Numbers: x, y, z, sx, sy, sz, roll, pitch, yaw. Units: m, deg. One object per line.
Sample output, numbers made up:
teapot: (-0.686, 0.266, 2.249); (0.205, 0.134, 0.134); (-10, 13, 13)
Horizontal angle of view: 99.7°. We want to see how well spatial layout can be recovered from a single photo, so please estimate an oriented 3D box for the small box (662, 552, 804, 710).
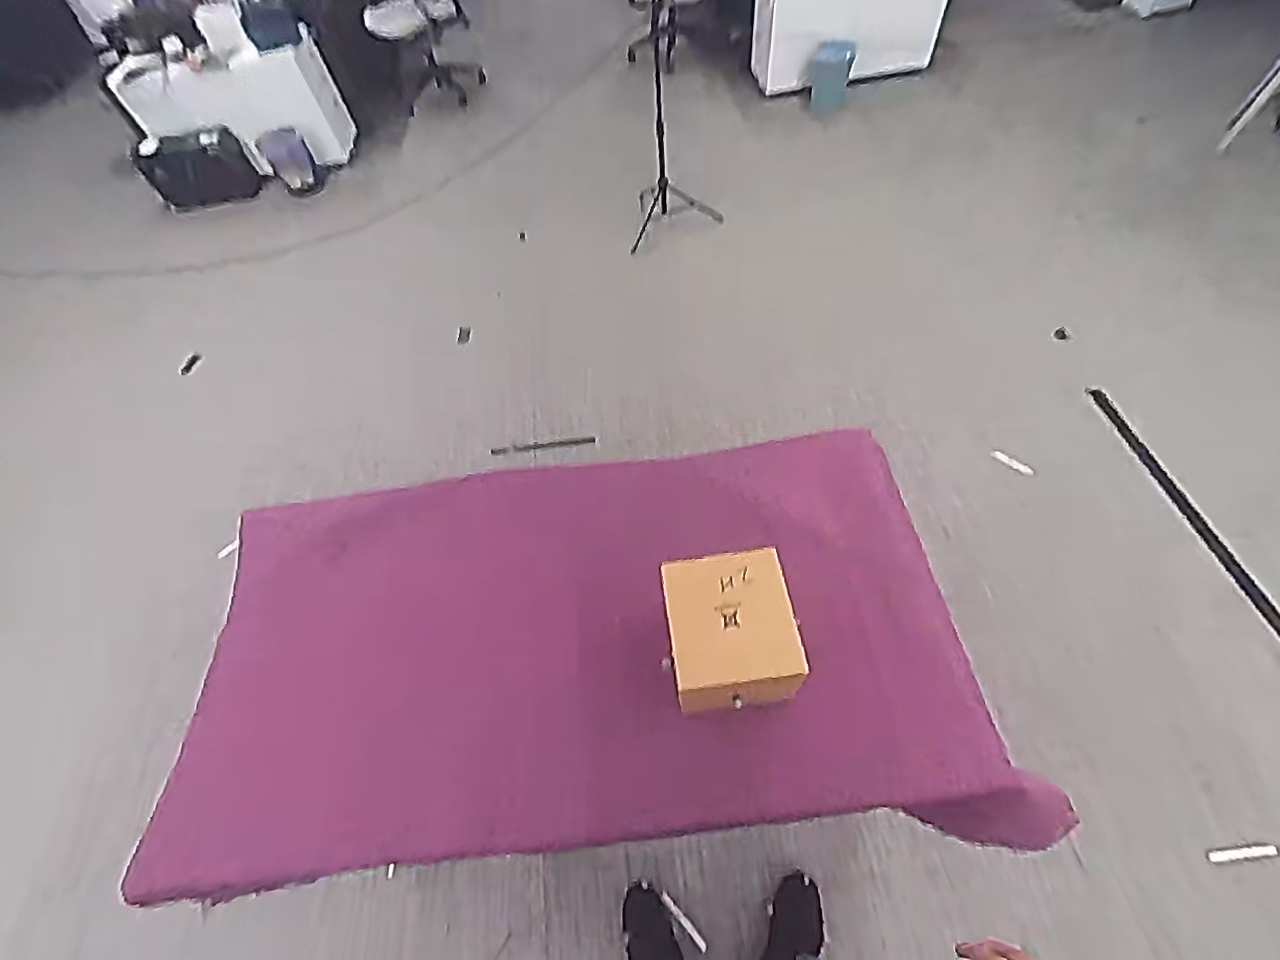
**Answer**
small box: (0.128, 0.228, 0.791); (0.168, 0.176, 0.179); (-8, 56, 1)
